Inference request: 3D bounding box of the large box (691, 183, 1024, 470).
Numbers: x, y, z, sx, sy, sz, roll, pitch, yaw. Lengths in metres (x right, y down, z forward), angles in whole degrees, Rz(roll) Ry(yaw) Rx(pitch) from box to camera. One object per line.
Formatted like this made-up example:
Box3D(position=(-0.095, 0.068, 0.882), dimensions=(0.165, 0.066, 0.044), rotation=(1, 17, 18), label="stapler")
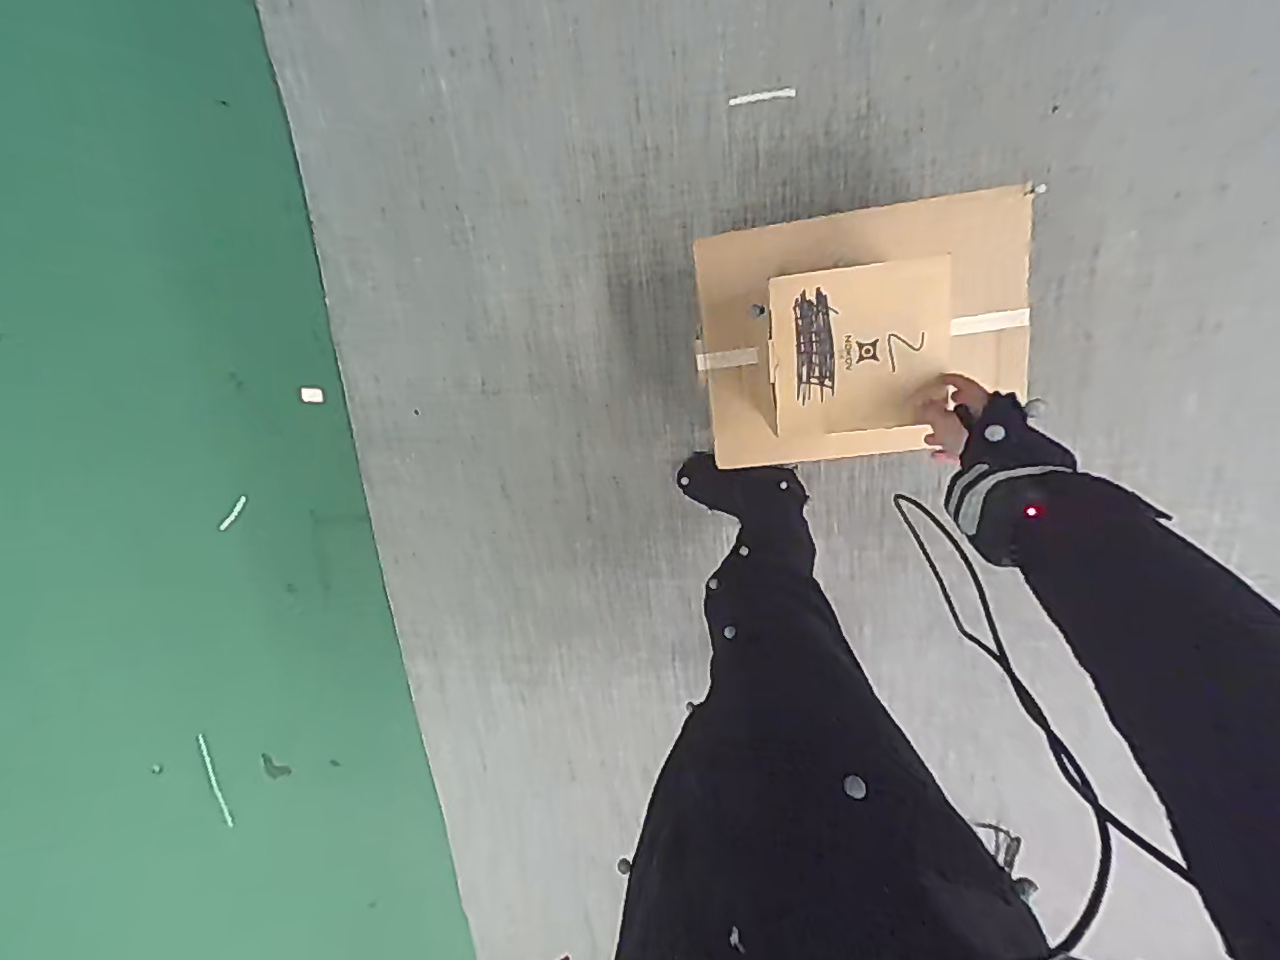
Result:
Box3D(position=(0.302, -0.221, 0.852), dimensions=(0.408, 0.320, 0.320), rotation=(-7, 105, 8), label="large box")
